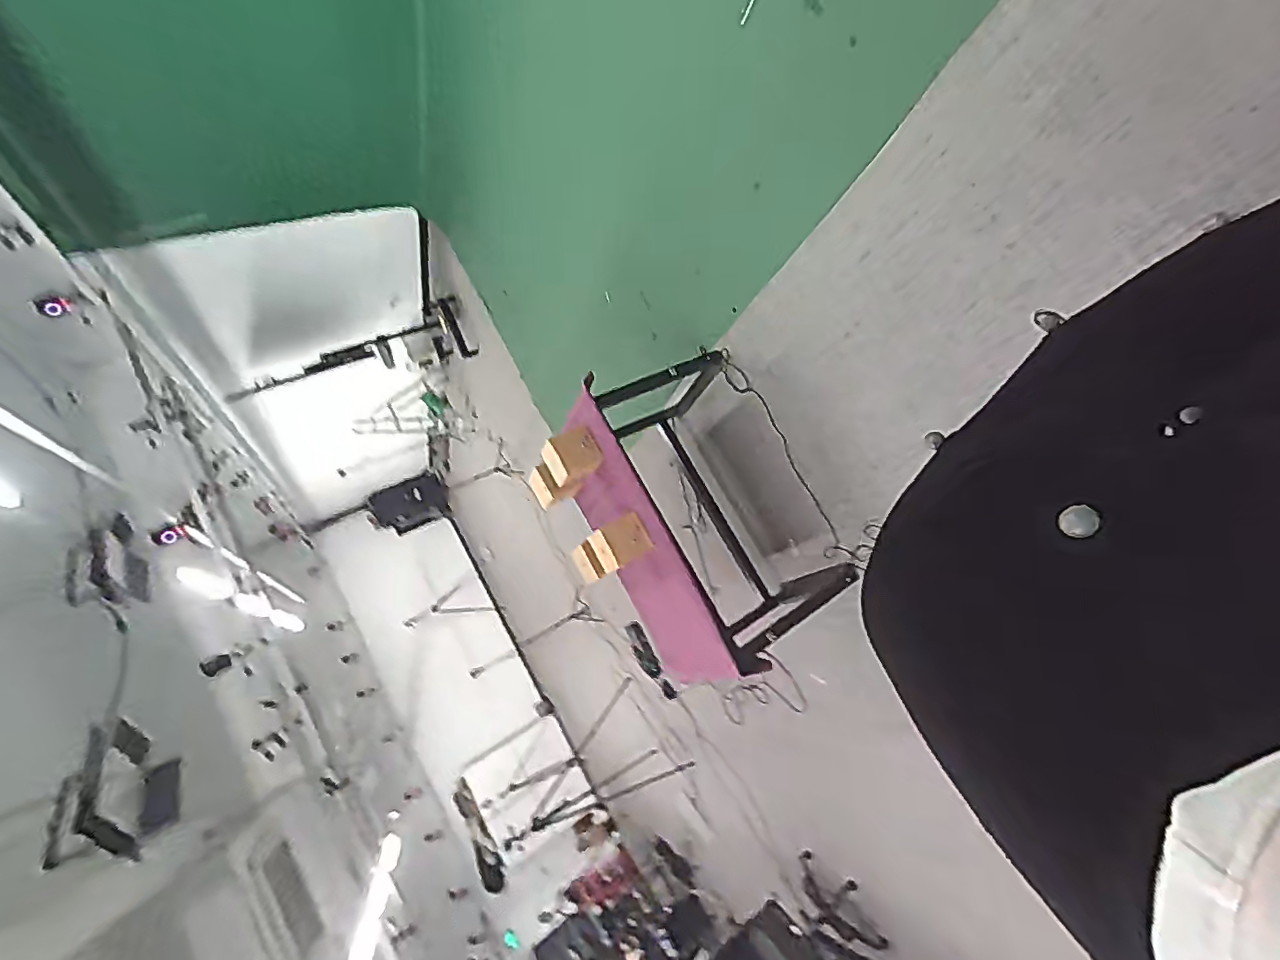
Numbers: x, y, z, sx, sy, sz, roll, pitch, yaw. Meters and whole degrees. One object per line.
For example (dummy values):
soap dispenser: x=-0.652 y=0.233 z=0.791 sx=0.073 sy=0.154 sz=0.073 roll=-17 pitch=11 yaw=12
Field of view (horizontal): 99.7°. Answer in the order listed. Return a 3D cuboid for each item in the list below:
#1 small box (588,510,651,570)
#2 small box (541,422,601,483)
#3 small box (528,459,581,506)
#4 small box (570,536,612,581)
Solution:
small box: x=-0.078 y=0.237 z=2.136 sx=0.168 sy=0.176 sz=0.179 roll=62 pitch=154 yaw=7
small box: x=-0.279 y=-0.110 z=2.189 sx=0.168 sy=0.176 sz=0.179 roll=60 pitch=154 yaw=5
small box: x=-0.390 y=-0.007 z=2.473 sx=0.168 sy=0.176 sz=0.179 roll=59 pitch=151 yaw=6
small box: x=-0.186 y=0.327 z=2.402 sx=0.168 sy=0.176 sz=0.179 roll=61 pitch=151 yaw=6
